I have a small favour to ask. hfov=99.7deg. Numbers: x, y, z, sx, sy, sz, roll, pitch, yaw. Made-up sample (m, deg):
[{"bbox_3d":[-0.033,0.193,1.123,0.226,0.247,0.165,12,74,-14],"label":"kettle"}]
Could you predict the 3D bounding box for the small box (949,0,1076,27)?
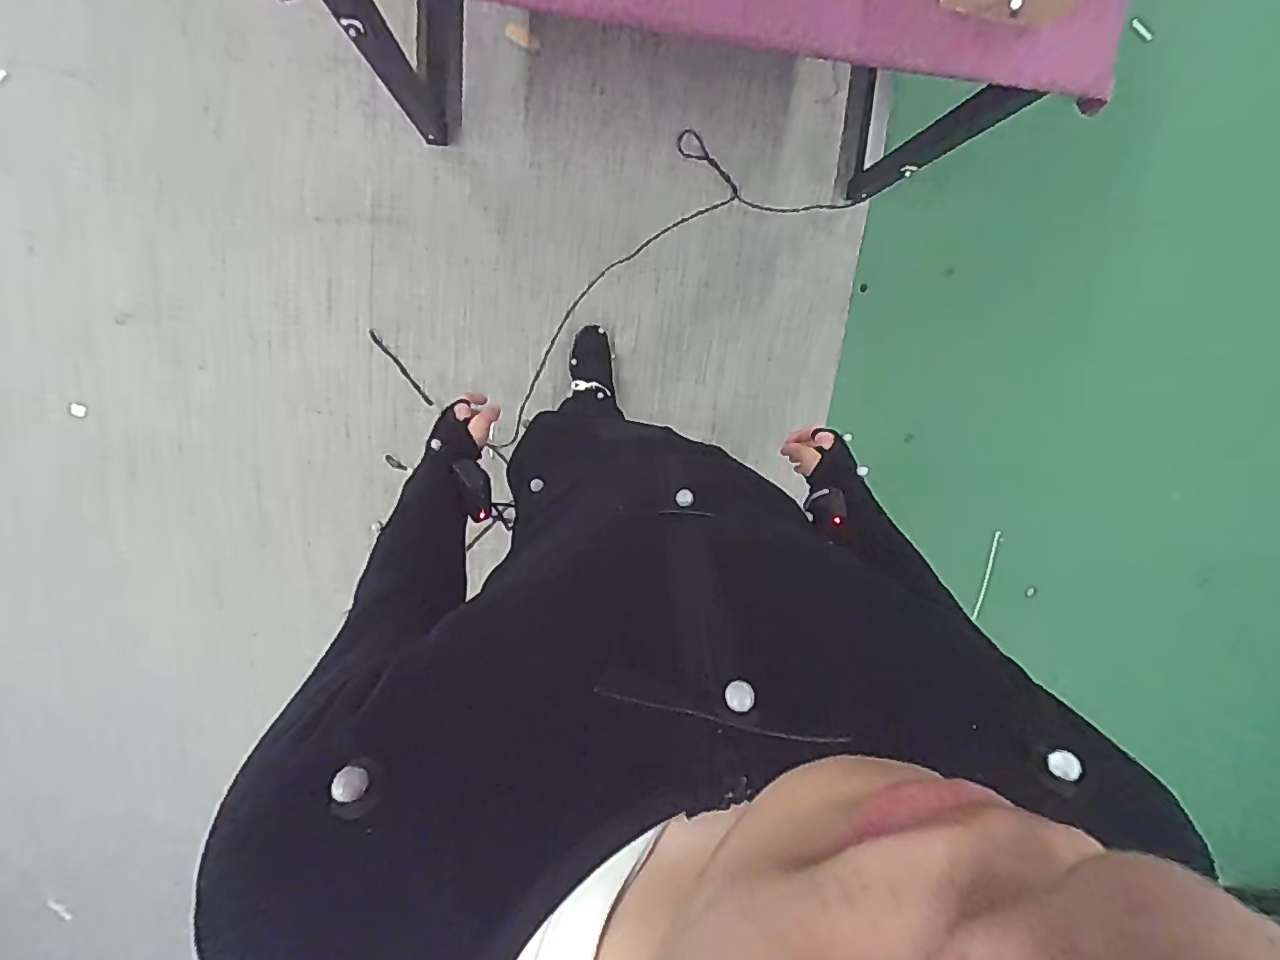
[{"bbox_3d":[0.518,-0.726,0.673,0.168,0.176,0.179,7,101,-5],"label":"small box"}]
